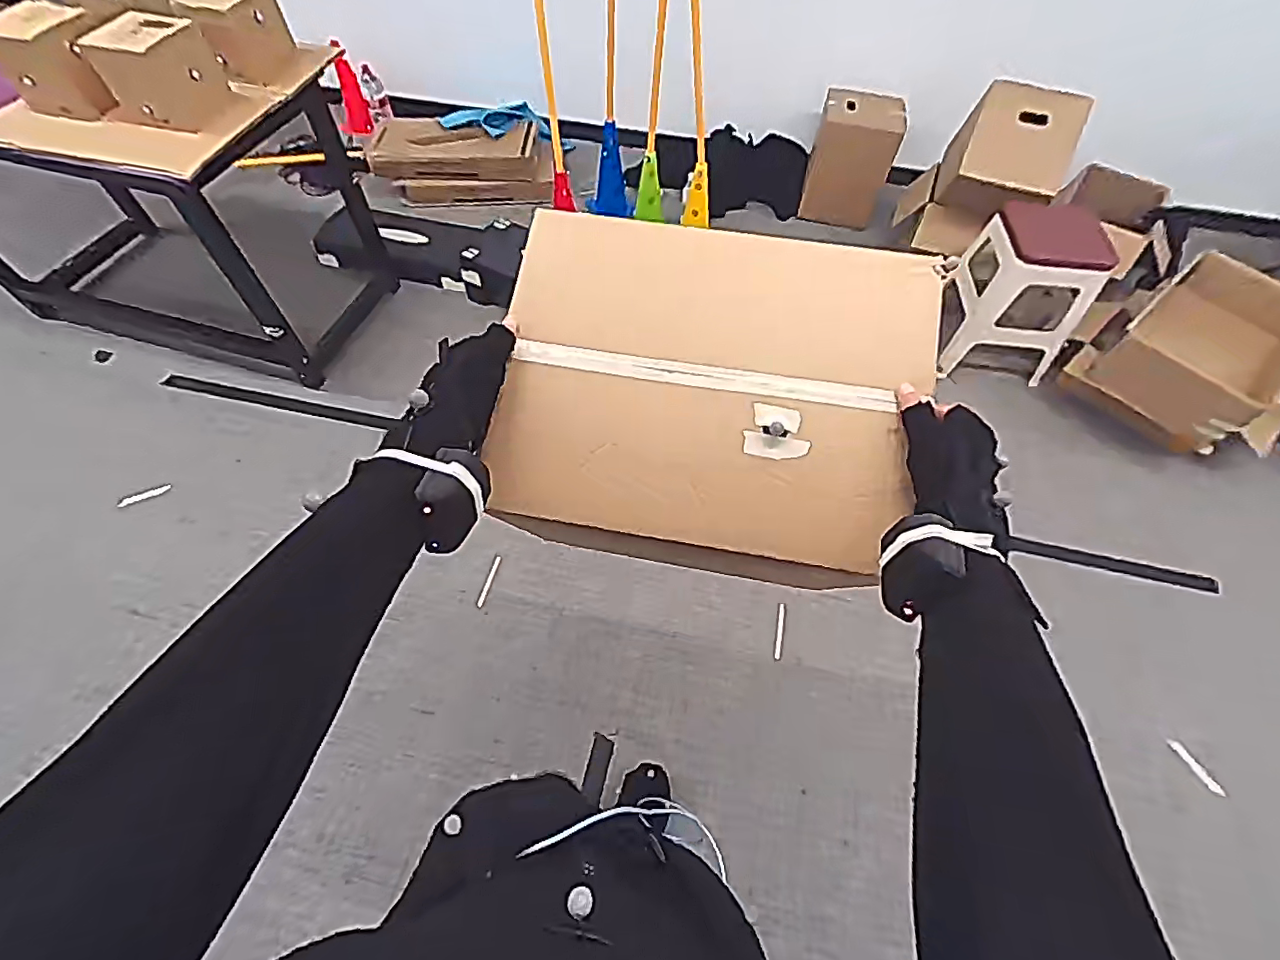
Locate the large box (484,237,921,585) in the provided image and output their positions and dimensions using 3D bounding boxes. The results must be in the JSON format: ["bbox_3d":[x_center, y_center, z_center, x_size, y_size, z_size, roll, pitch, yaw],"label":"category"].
[{"bbox_3d":[0.071,-0.054,0.677,0.408,0.320,0.320,9,79,4],"label":"large box"}]
